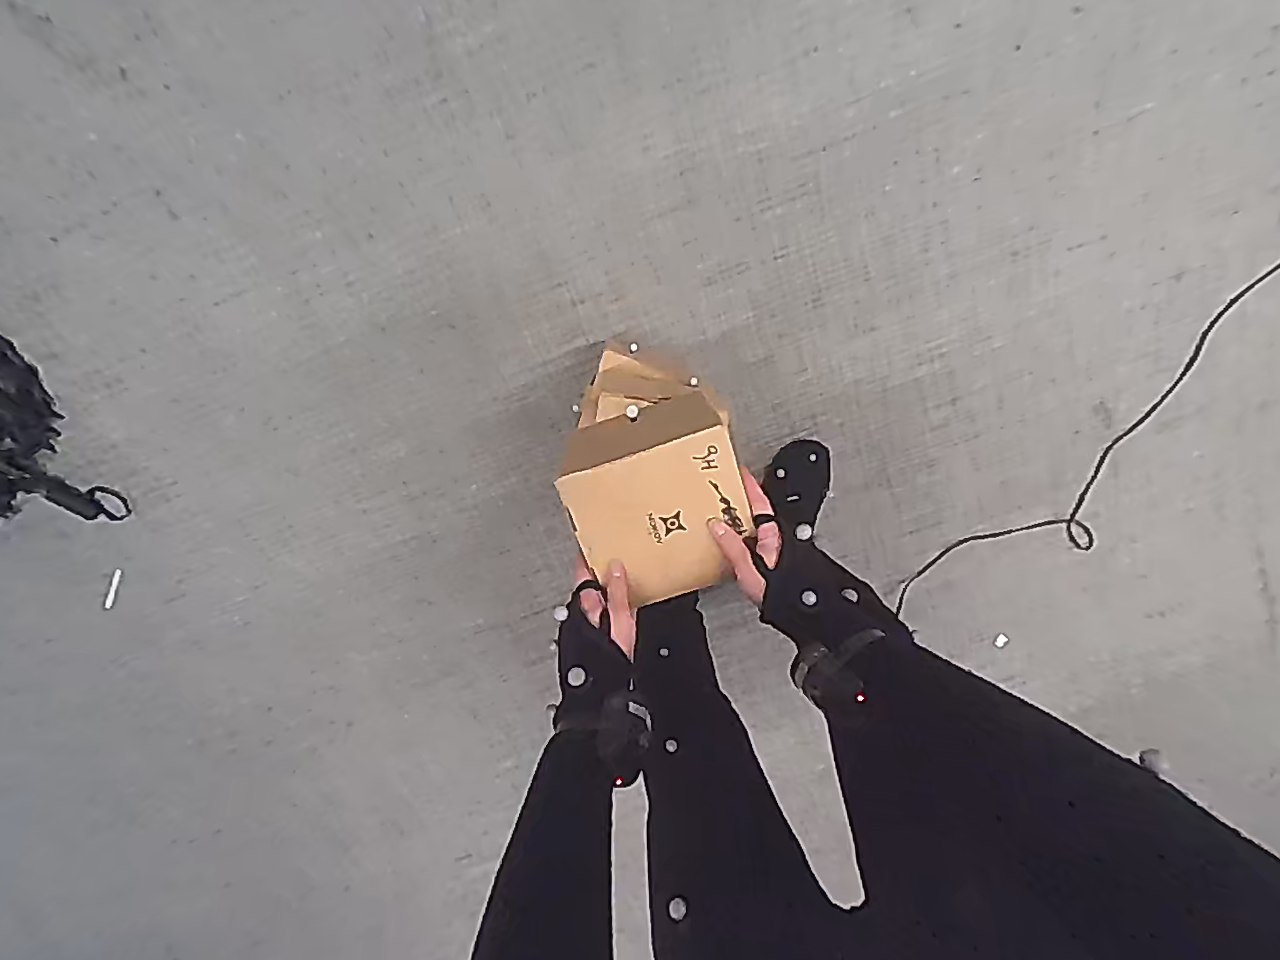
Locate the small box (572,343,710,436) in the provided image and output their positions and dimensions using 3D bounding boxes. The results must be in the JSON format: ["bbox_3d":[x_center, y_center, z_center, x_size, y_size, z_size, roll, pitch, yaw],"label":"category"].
[{"bbox_3d":[-0.004,-0.124,0.915,0.179,0.176,0.168,19,109,-9],"label":"small box"}]

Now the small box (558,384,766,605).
[{"bbox_3d":[0.021,0.007,0.621,0.179,0.176,0.168,-21,113,3],"label":"small box"}]

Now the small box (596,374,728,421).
[{"bbox_3d":[0.014,-0.044,0.769,0.168,0.176,0.179,8,111,-4],"label":"small box"}]
